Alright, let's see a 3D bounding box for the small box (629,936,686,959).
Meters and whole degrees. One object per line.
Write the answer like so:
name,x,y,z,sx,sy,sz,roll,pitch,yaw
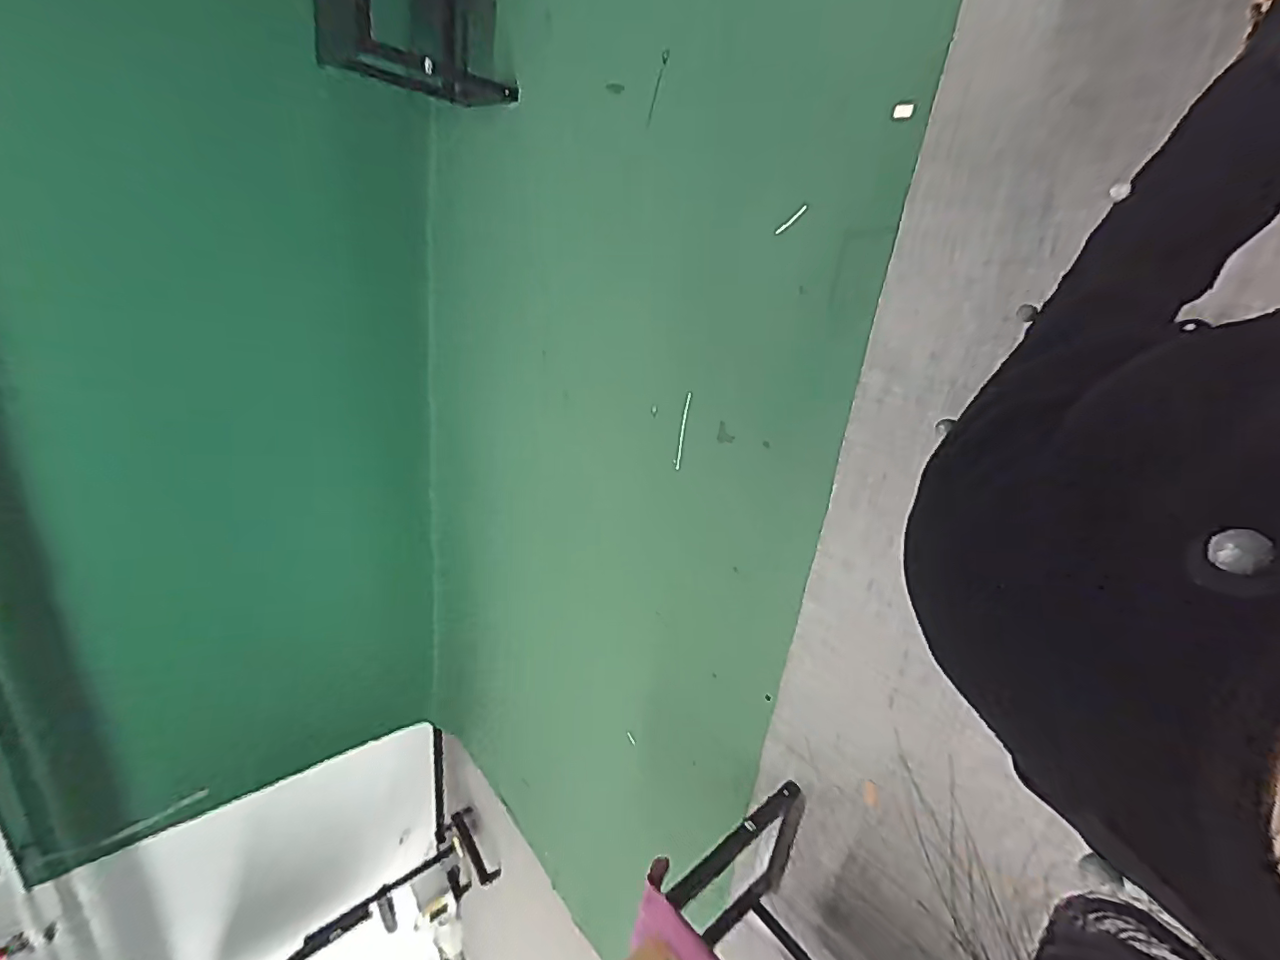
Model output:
small box,0.049,1.336,1.393,0.179,0.176,0.168,24,116,44
